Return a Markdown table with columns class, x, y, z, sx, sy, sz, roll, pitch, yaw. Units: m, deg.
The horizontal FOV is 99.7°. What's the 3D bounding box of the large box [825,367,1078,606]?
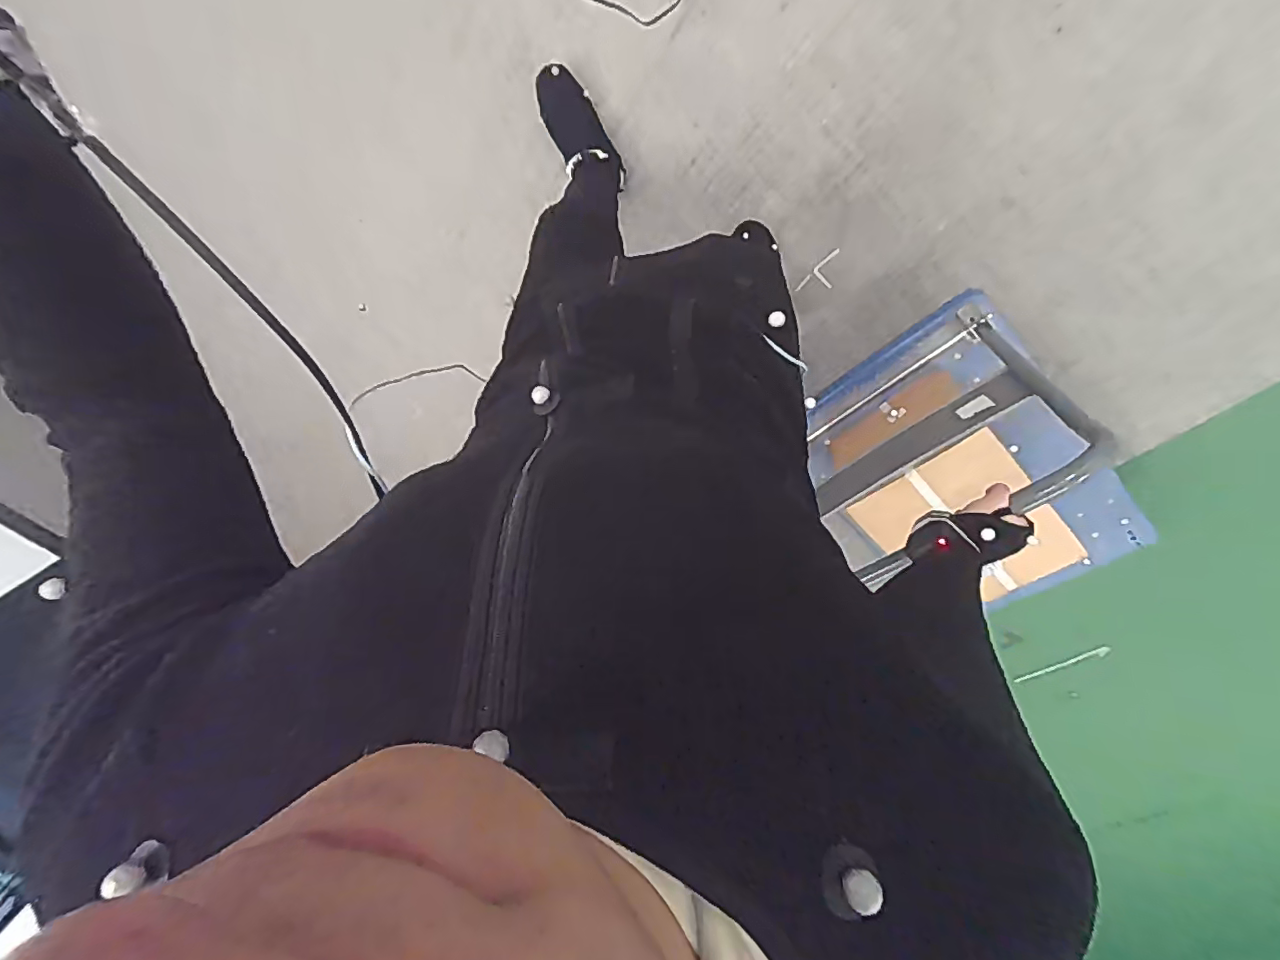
| class | x | y | z | sx | sy | sz | roll | pitch | yaw |
| --- | --- | --- | --- | --- | --- | --- | --- | --- | --- |
| large box | 0.702 | 0.014 | 1.278 | 0.408 | 0.320 | 0.320 | 42 | 122 | -16 |
